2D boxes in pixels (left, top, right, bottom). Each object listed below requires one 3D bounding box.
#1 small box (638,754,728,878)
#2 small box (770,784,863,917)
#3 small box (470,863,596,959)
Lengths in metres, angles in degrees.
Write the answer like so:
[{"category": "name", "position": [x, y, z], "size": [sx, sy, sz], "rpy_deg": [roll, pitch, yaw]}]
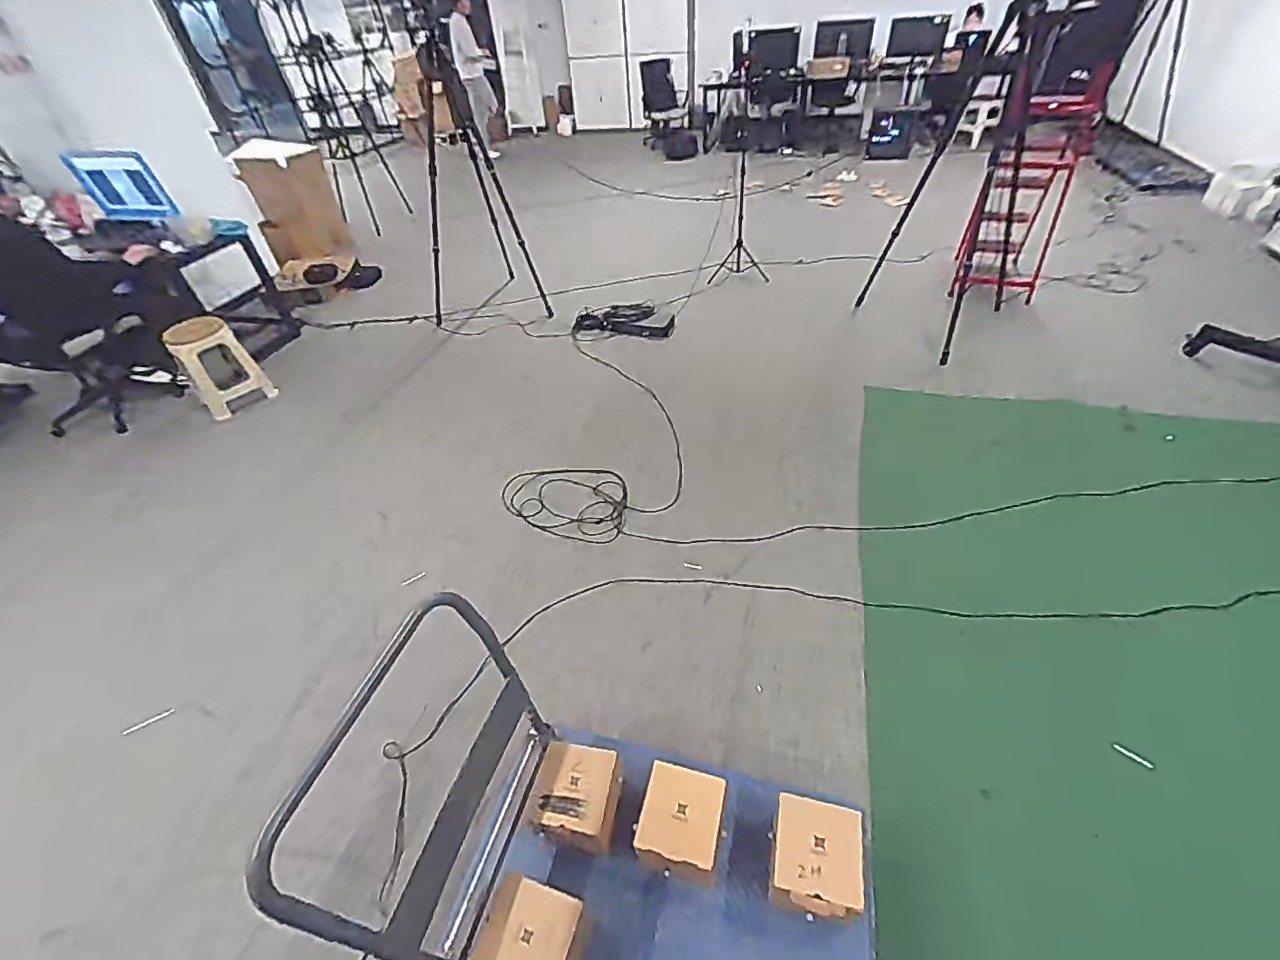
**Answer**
[{"category": "small box", "position": [0.100, 0.755, 1.215], "size": [0.168, 0.176, 0.179], "rpy_deg": [8, 46, 15]}, {"category": "small box", "position": [0.371, 0.784, 1.146], "size": [0.168, 0.176, 0.179], "rpy_deg": [6, 44, 15]}, {"category": "small box", "position": [-0.203, 0.909, 1.081], "size": [0.179, 0.176, 0.168], "rpy_deg": [10, 45, 16]}]
